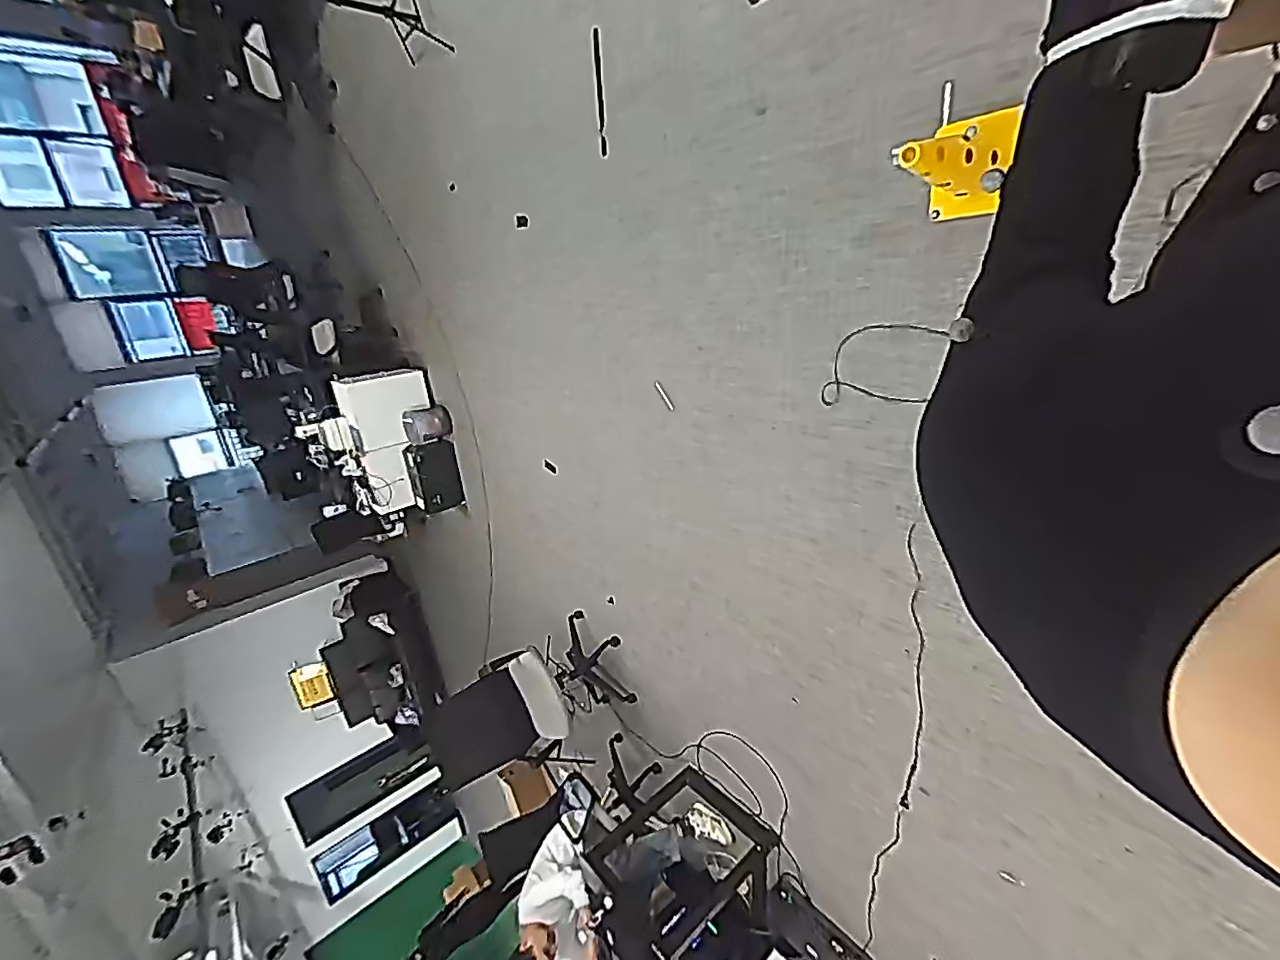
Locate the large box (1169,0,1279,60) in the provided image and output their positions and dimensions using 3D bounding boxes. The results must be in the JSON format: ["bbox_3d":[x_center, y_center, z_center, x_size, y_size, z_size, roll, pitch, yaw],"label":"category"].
[{"bbox_3d":[0.557,-0.454,0.241,0.408,0.320,0.320,18,124,44],"label":"large box"}]
